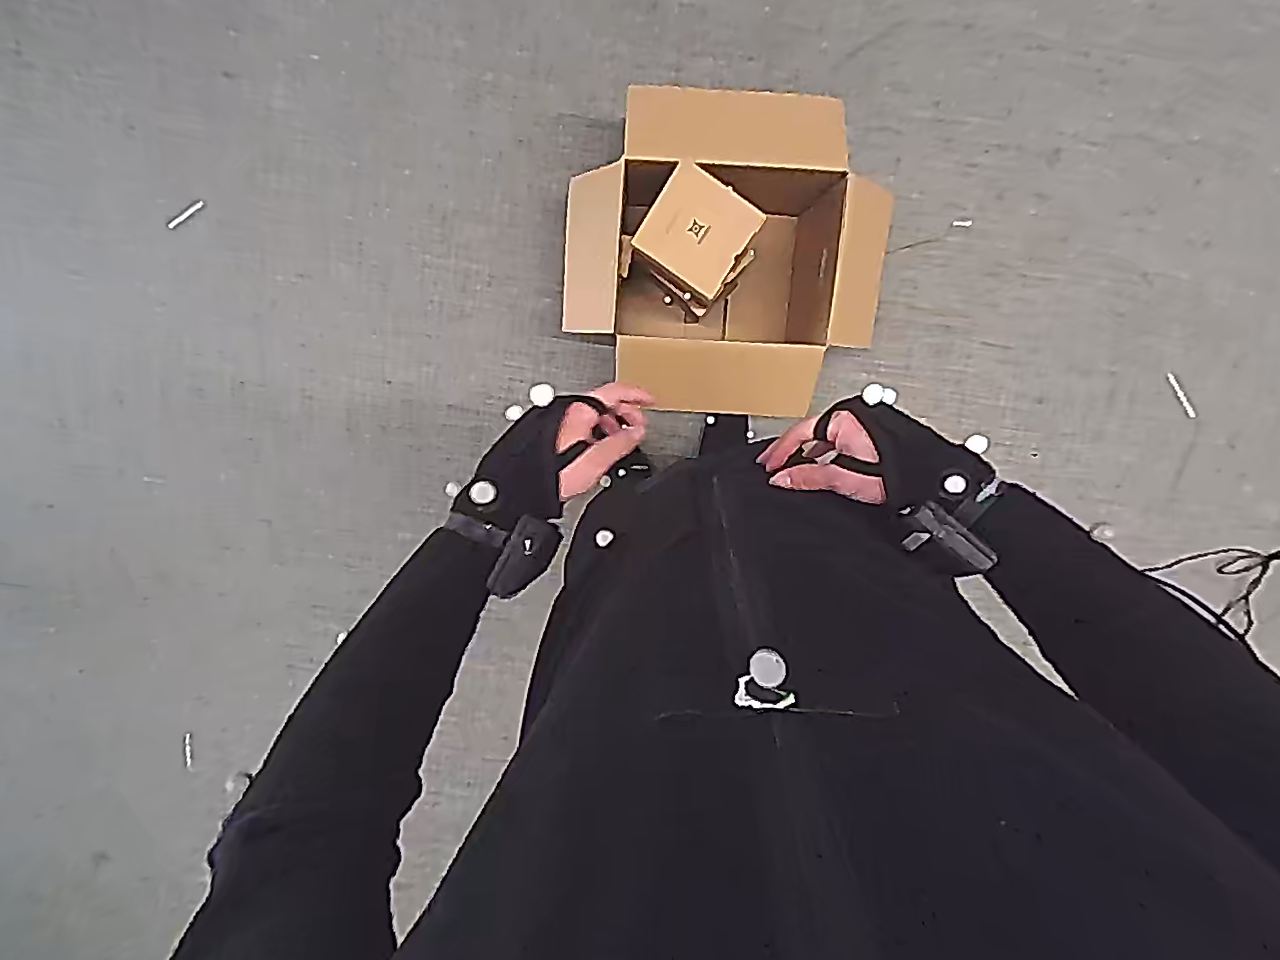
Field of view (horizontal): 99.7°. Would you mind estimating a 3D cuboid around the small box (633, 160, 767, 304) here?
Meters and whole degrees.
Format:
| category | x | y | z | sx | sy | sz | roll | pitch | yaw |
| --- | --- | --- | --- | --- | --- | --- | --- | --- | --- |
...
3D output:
| category | x | y | z | sx | sy | sz | roll | pitch | yaw |
| --- | --- | --- | --- | --- | --- | --- | --- | --- | --- |
| small box | 0.109 | -0.447 | 1.011 | 0.179 | 0.176 | 0.168 | 35 | 102 | -3 |
